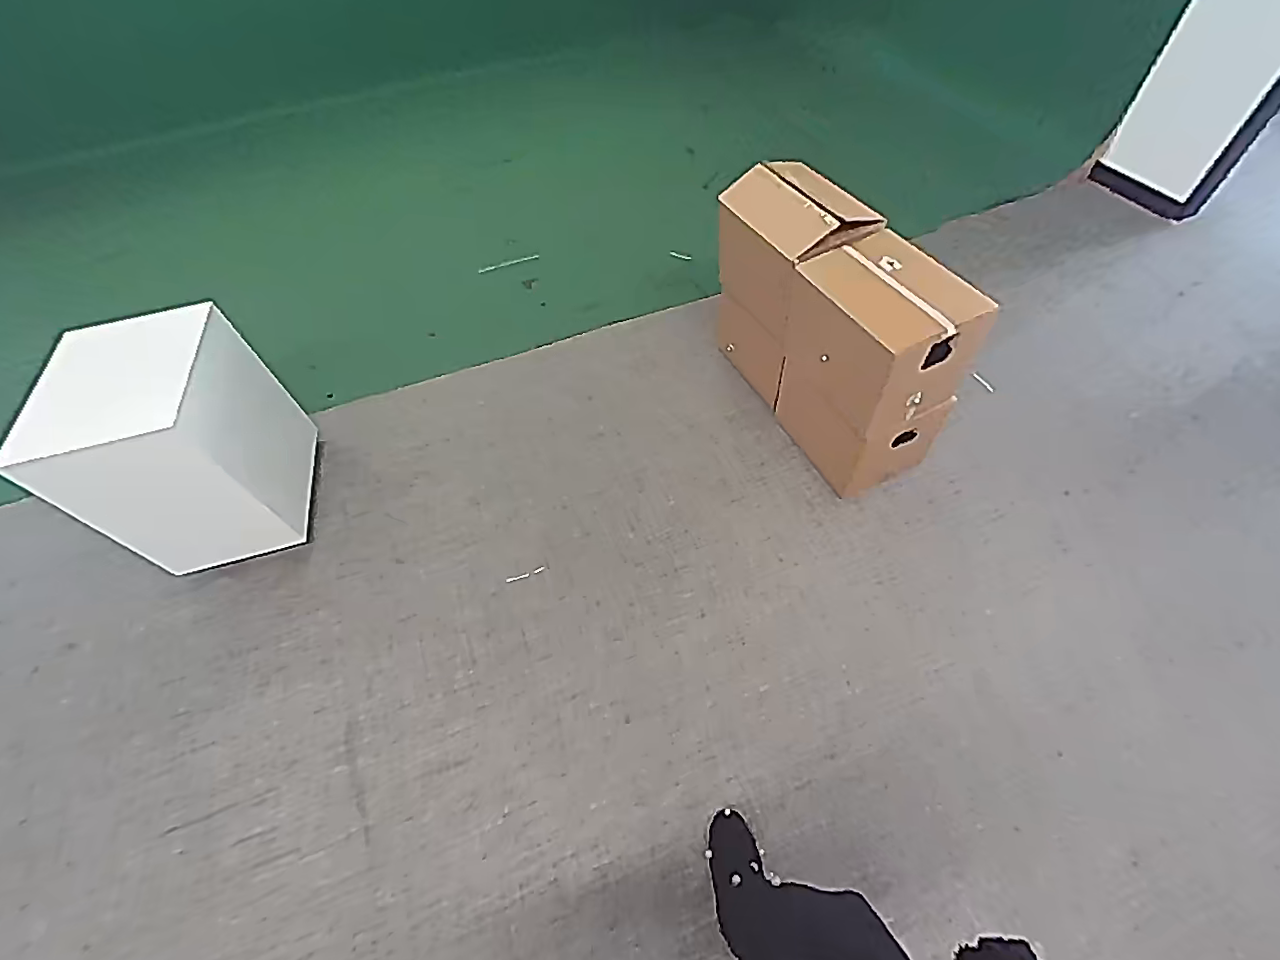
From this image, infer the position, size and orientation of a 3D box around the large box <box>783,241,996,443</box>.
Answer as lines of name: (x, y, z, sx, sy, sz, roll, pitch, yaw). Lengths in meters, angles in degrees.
large box: (0.646, -0.380, 1.485, 0.320, 0.320, 0.408, -24, 54, -10)
